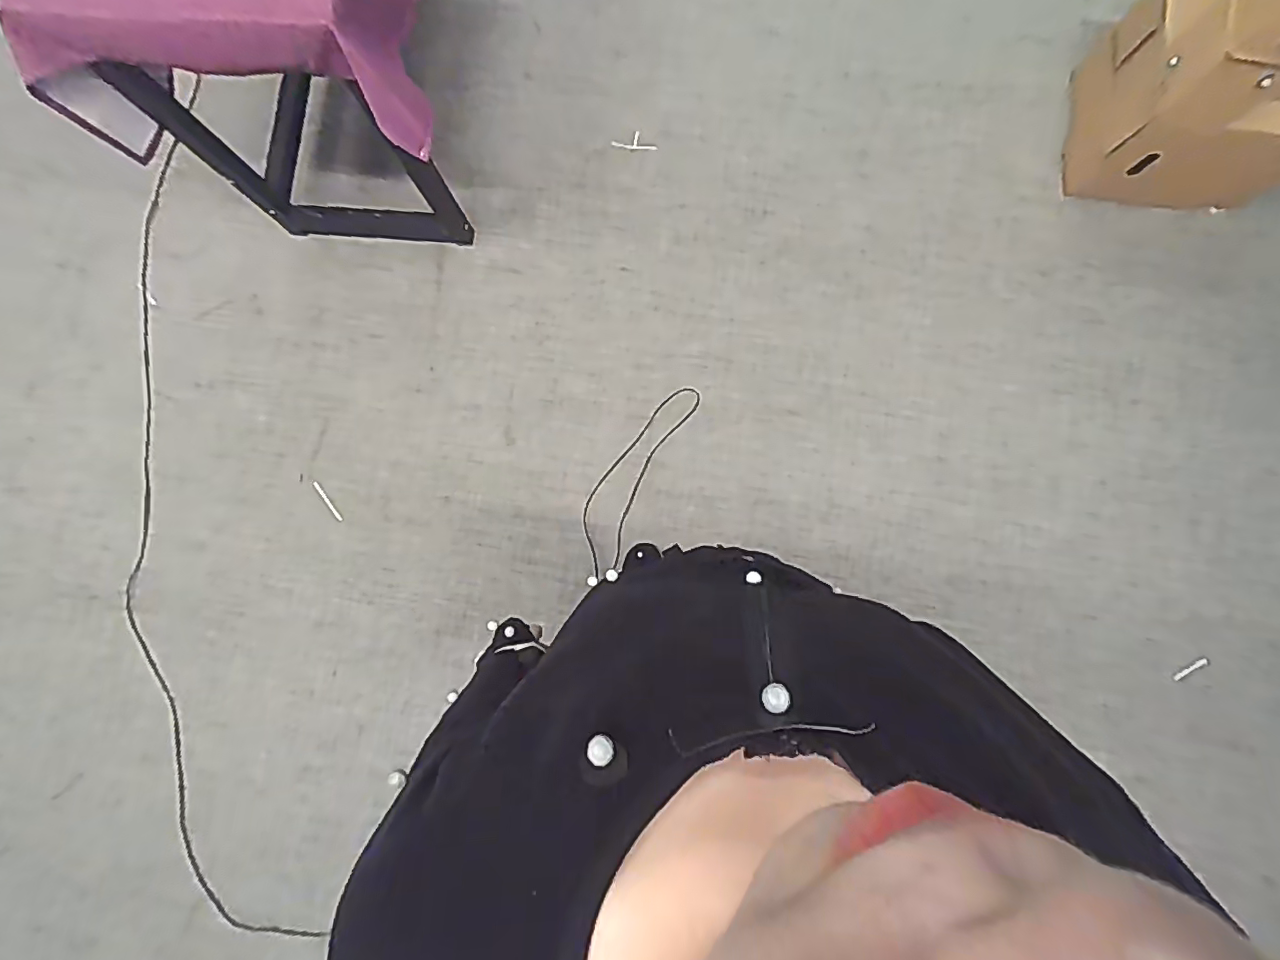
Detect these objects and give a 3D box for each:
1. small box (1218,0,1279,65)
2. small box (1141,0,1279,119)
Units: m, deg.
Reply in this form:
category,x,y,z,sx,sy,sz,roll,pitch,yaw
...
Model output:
category,x,y,z,sx,sy,sz,roll,pitch,yaw
small box,1.294,-0.967,1.051,0.168,0.176,0.179,11,86,2
small box,1.295,-0.953,1.214,0.179,0.176,0.168,10,84,2
